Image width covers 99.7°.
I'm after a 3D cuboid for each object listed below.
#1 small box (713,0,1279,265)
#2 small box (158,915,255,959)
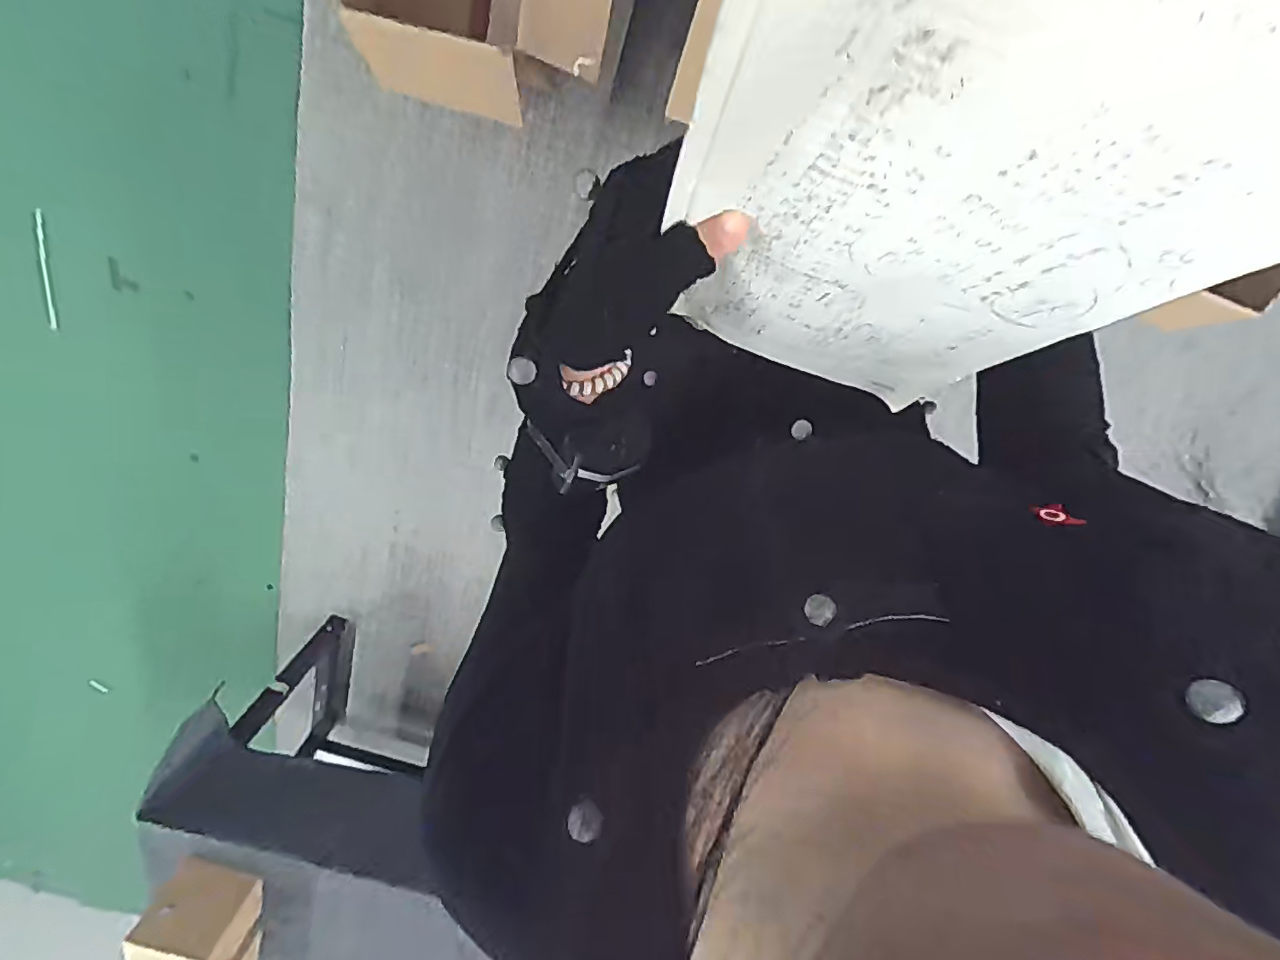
[{"bbox_3d":[0.144,-0.228,0.245,0.168,0.176,0.179,3,135,-15],"label":"small box"},{"bbox_3d":[-1.070,1.204,1.303,0.168,0.176,0.179,21,114,-6],"label":"small box"}]
